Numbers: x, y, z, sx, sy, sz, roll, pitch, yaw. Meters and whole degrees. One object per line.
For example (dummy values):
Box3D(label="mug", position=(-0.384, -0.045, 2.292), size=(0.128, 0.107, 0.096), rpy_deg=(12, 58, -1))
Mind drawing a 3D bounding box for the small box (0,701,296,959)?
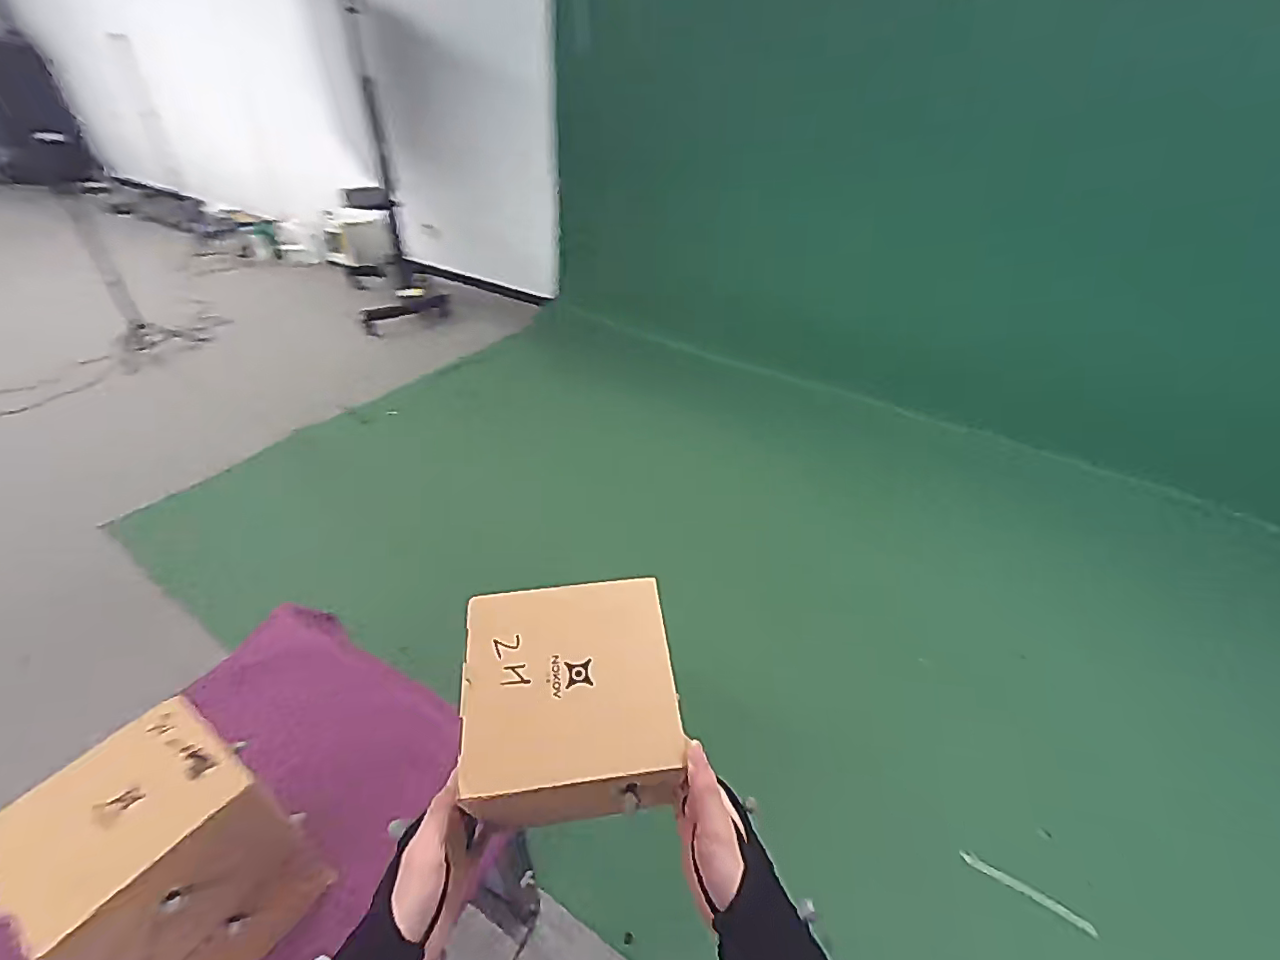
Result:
Box3D(label="small box", position=(-0.512, 0.383, 0.568), size=(0.168, 0.176, 0.179), rpy_deg=(26, 44, 23))

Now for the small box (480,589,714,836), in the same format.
Box3D(label="small box", position=(-0.042, 0.220, 0.509), size=(0.179, 0.176, 0.168), rpy_deg=(-4, 49, -6))

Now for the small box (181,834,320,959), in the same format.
Box3D(label="small box", position=(-0.534, 0.506, 0.674), size=(0.168, 0.176, 0.179), rpy_deg=(26, 43, 23))
